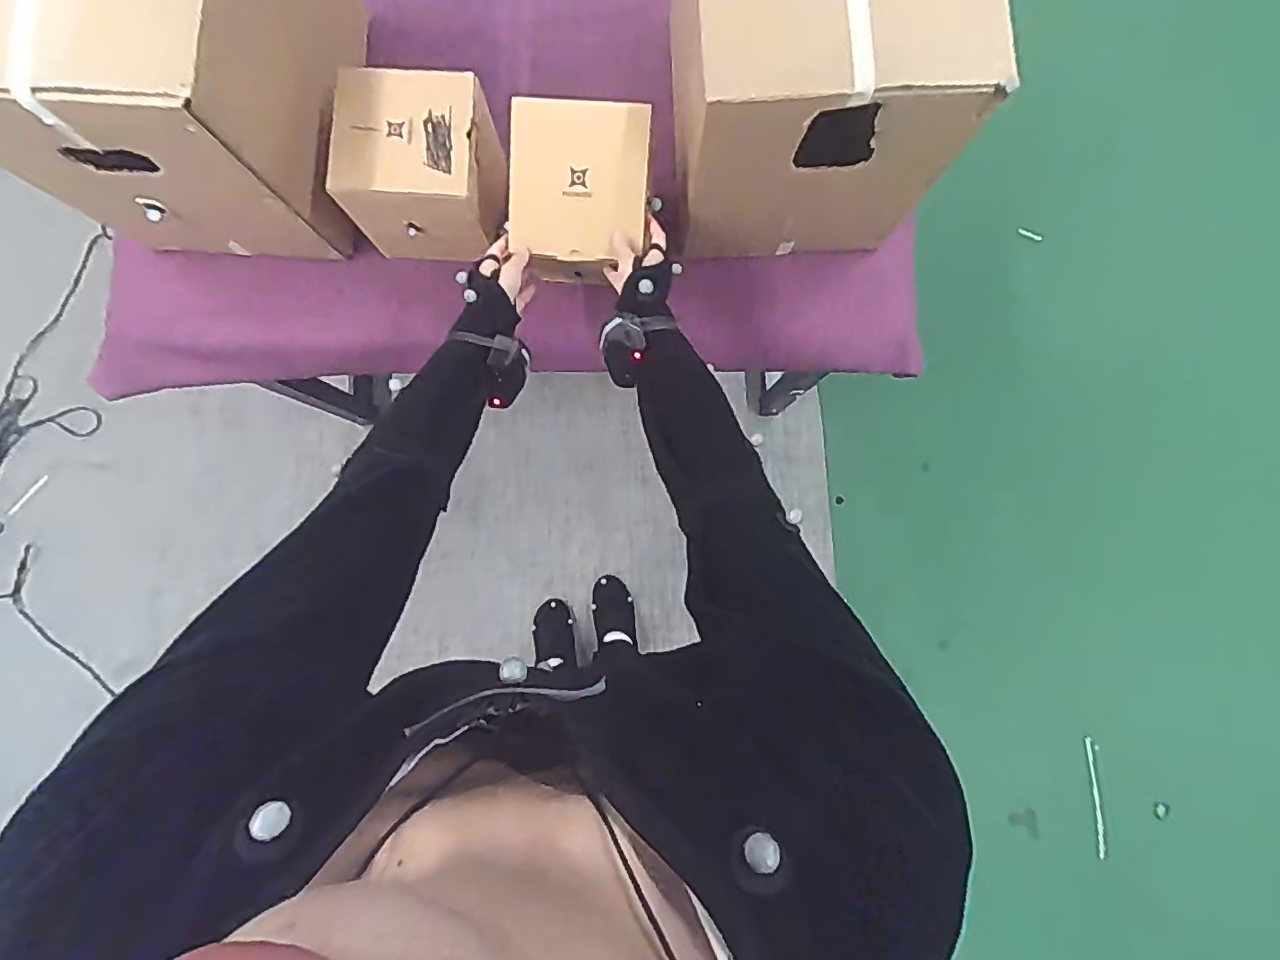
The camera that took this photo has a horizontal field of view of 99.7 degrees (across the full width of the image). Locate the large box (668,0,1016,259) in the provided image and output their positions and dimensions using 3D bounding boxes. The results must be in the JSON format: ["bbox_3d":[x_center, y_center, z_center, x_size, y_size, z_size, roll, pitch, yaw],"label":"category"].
[{"bbox_3d":[0.210,-0.556,0.702,0.320,0.320,0.408,-3,85,1],"label":"large box"}]

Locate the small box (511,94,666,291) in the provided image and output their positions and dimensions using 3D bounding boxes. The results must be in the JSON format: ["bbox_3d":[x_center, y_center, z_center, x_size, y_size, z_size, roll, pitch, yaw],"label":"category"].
[{"bbox_3d":[-0.062,-0.365,0.719,0.168,0.176,0.179,9,101,0],"label":"small box"}]
